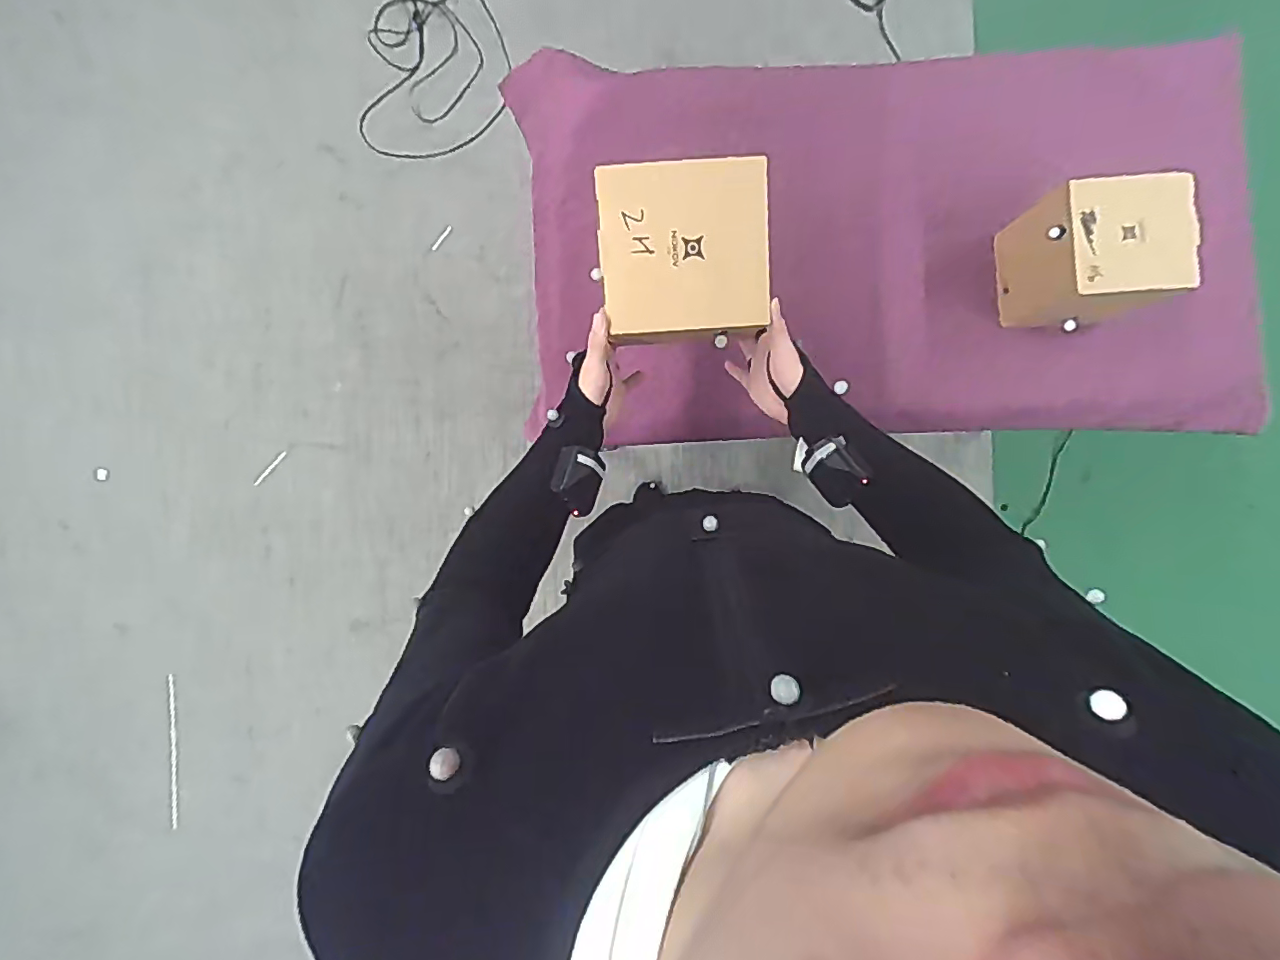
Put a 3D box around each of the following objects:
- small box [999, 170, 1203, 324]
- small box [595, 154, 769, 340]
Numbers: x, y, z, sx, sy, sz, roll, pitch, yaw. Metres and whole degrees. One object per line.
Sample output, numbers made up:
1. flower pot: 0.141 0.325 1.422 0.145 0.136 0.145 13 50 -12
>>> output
1. small box: 0.698 -0.348 0.835 0.179 0.176 0.168 -3 89 1
2. small box: 0.044 -0.257 0.633 0.179 0.176 0.168 -3 100 1
